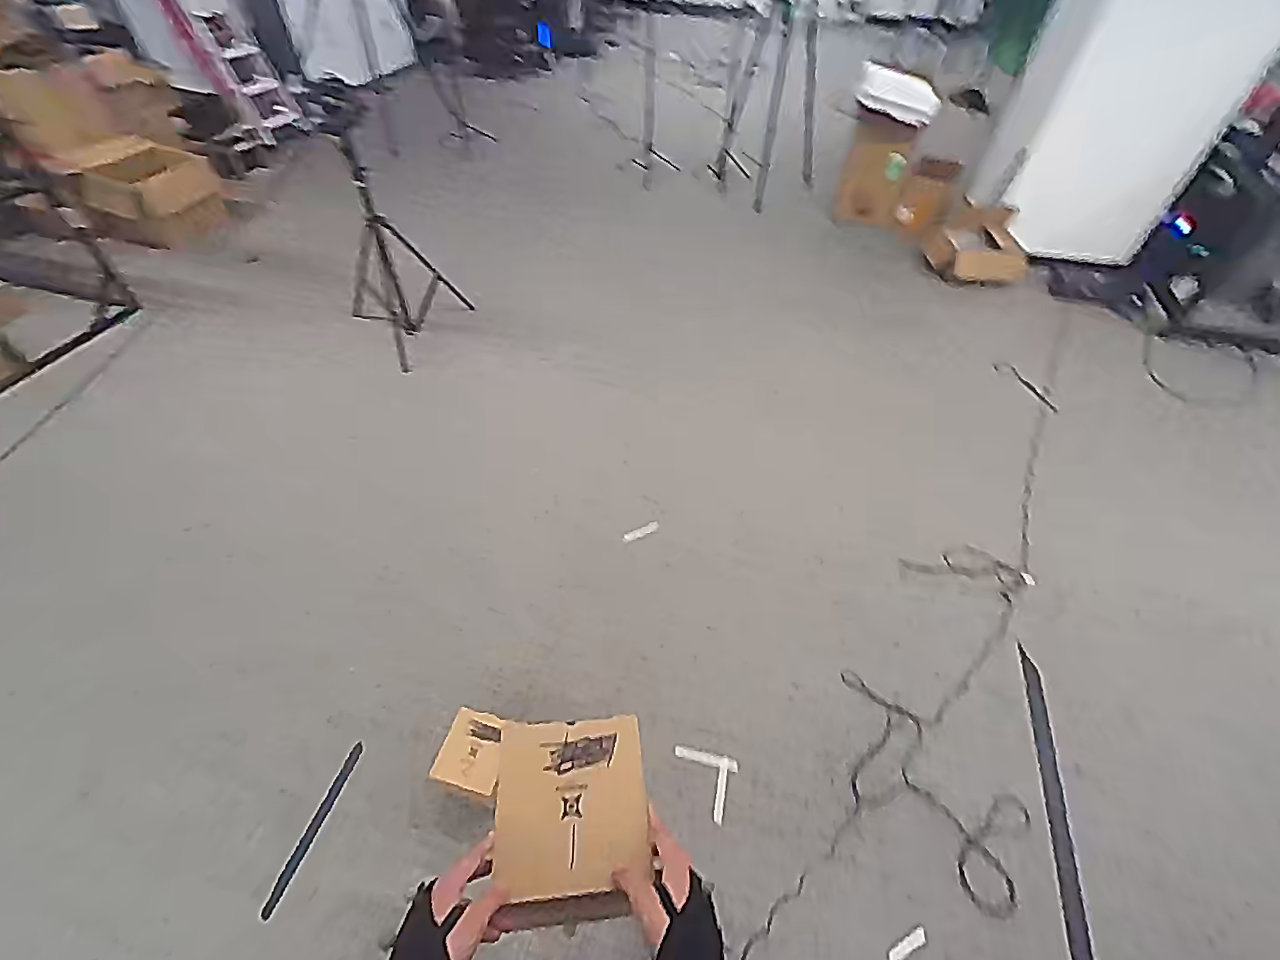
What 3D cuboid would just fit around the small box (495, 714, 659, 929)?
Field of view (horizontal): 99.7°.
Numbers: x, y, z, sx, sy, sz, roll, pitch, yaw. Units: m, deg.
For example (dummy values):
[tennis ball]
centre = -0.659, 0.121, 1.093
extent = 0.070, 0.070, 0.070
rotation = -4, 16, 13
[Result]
[small box]
centre = -0.076, 0.406, 0.649
extent = 0.168, 0.176, 0.179
rotation = -1, 44, -7
